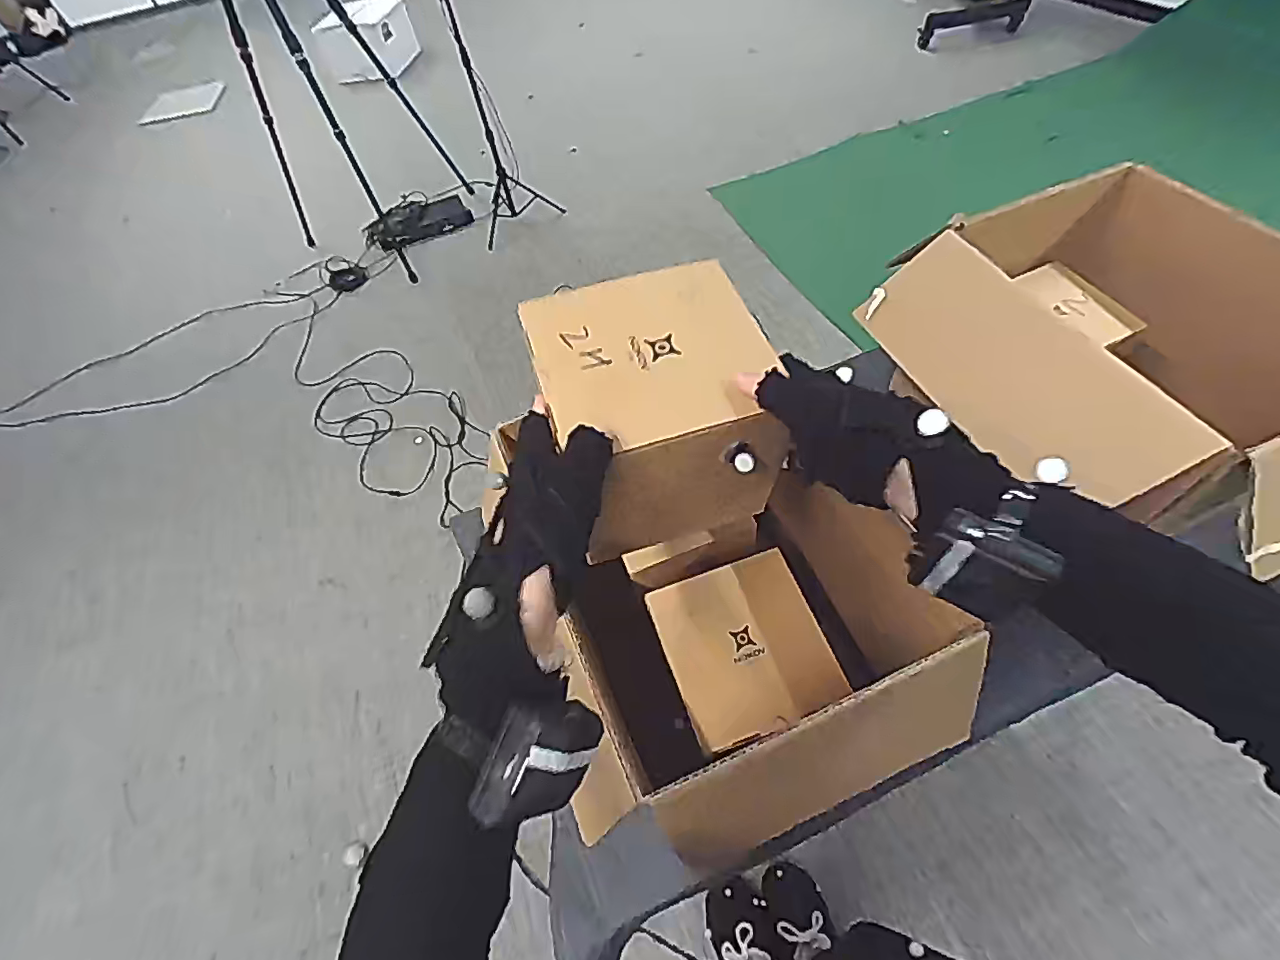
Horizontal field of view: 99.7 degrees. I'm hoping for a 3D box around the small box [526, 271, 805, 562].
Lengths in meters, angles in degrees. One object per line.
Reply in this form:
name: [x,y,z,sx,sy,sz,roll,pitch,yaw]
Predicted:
small box: [0.011,-0.049,0.474,0.179,0.176,0.168,-15,60,-10]
